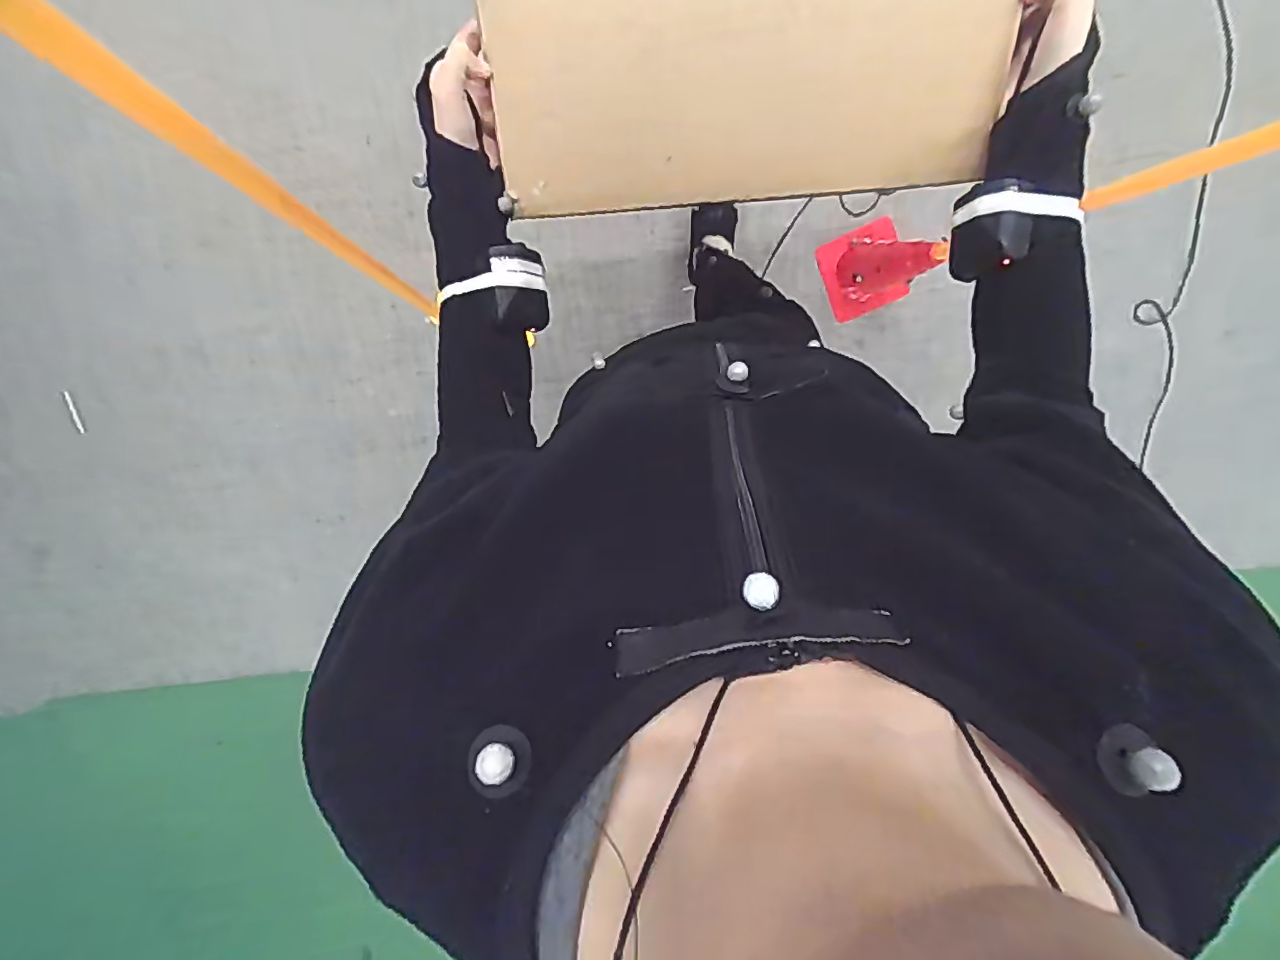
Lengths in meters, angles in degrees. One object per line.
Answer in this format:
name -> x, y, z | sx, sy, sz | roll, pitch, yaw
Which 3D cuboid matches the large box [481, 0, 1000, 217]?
large box -> 0.074, -0.452, 0.532 | 0.408, 0.320, 0.320 | -5, 116, 1
